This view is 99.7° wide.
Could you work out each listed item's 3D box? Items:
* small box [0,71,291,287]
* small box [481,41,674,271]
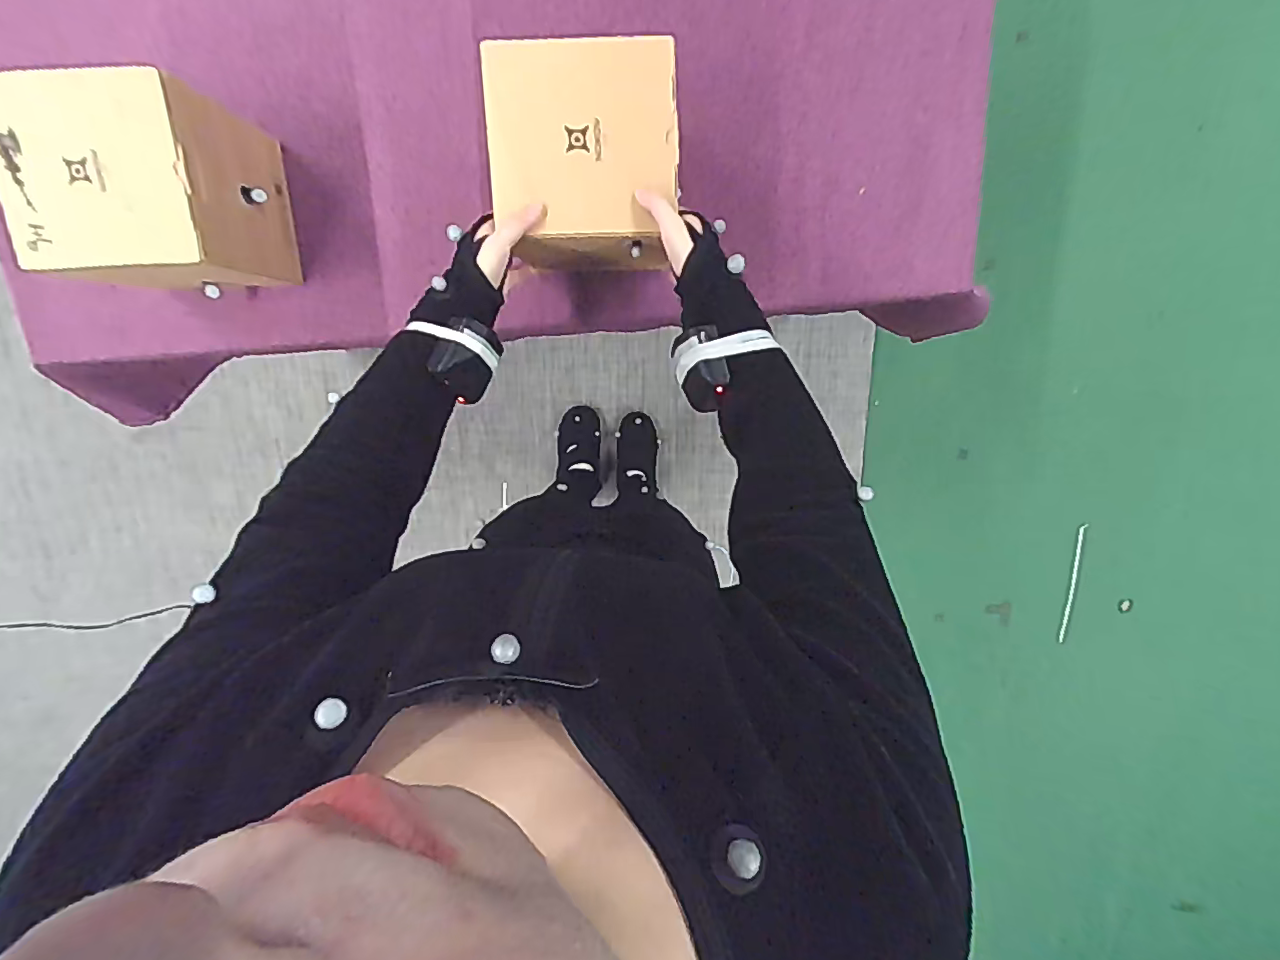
[{"bbox_3d":[-0.508,-0.304,0.579,0.179,0.176,0.168,-2,103,-1],"label":"small box"},{"bbox_3d":[-0.056,-0.324,0.576,0.179,0.176,0.168,-1,100,-1],"label":"small box"}]
